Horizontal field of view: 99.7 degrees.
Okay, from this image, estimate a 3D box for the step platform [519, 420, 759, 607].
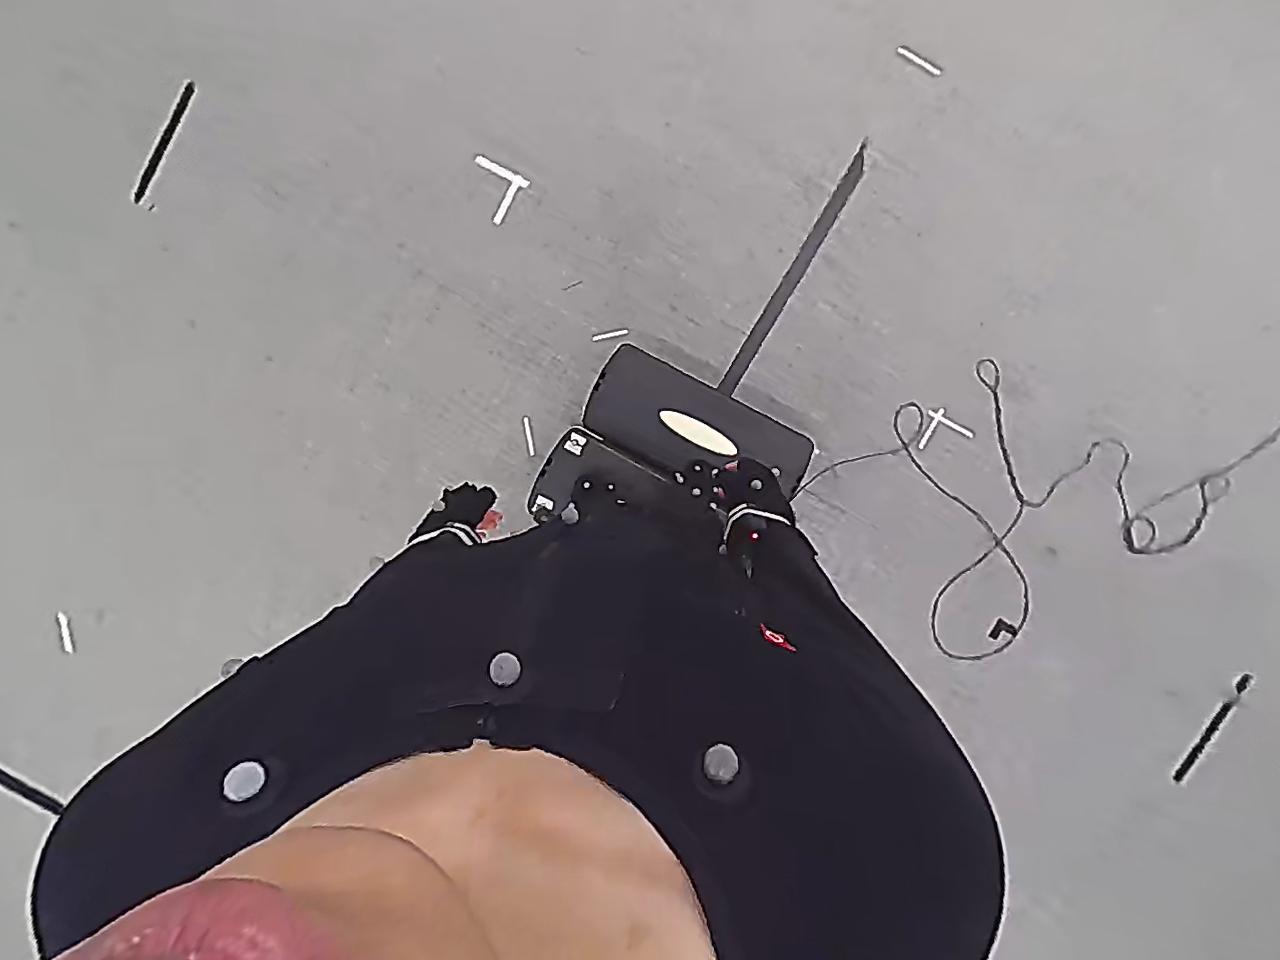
[{"bbox_3d":[-0.001,0.095,1.578,0.684,0.204,0.286,28,93,0],"label":"step platform"}]
